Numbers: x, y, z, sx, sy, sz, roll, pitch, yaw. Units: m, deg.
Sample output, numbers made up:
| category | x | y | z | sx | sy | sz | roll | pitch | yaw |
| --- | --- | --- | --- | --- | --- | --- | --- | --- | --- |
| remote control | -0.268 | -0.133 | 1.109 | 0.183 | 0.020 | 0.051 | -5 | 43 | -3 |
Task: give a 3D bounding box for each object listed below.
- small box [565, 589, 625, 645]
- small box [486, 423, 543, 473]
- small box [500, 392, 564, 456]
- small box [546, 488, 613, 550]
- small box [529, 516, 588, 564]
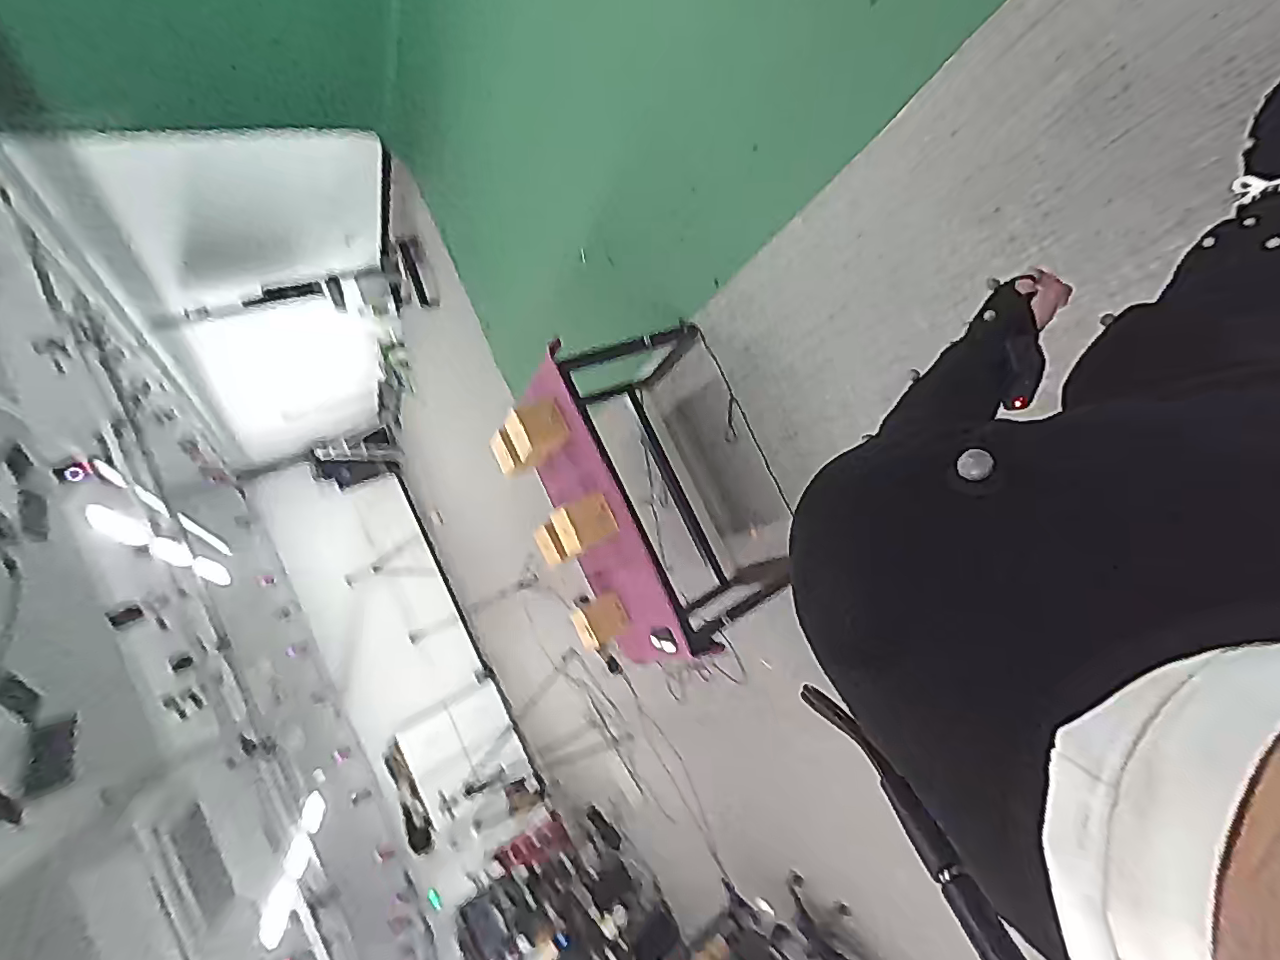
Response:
| category | x | y | z | sx | sy | sz | roll | pitch | yaw |
| --- | --- | --- | --- | --- | --- | --- | --- | --- | --- |
| small box | -0.183 | 0.566 | 2.242 | 0.168 | 0.176 | 0.179 | 63 | 150 | 7 |
| small box | -0.532 | -0.151 | 2.299 | 0.168 | 0.176 | 0.179 | 63 | 150 | 5 |
| small box | -0.411 | -0.214 | 2.060 | 0.168 | 0.176 | 0.179 | 63 | 151 | 4 |
| small box | -0.225 | 0.145 | 2.022 | 0.179 | 0.176 | 0.168 | -29 | 85 | 60 |
| small box | -0.339 | 0.231 | 2.262 | 0.168 | 0.176 | 0.179 | 62 | 149 | 6 |
